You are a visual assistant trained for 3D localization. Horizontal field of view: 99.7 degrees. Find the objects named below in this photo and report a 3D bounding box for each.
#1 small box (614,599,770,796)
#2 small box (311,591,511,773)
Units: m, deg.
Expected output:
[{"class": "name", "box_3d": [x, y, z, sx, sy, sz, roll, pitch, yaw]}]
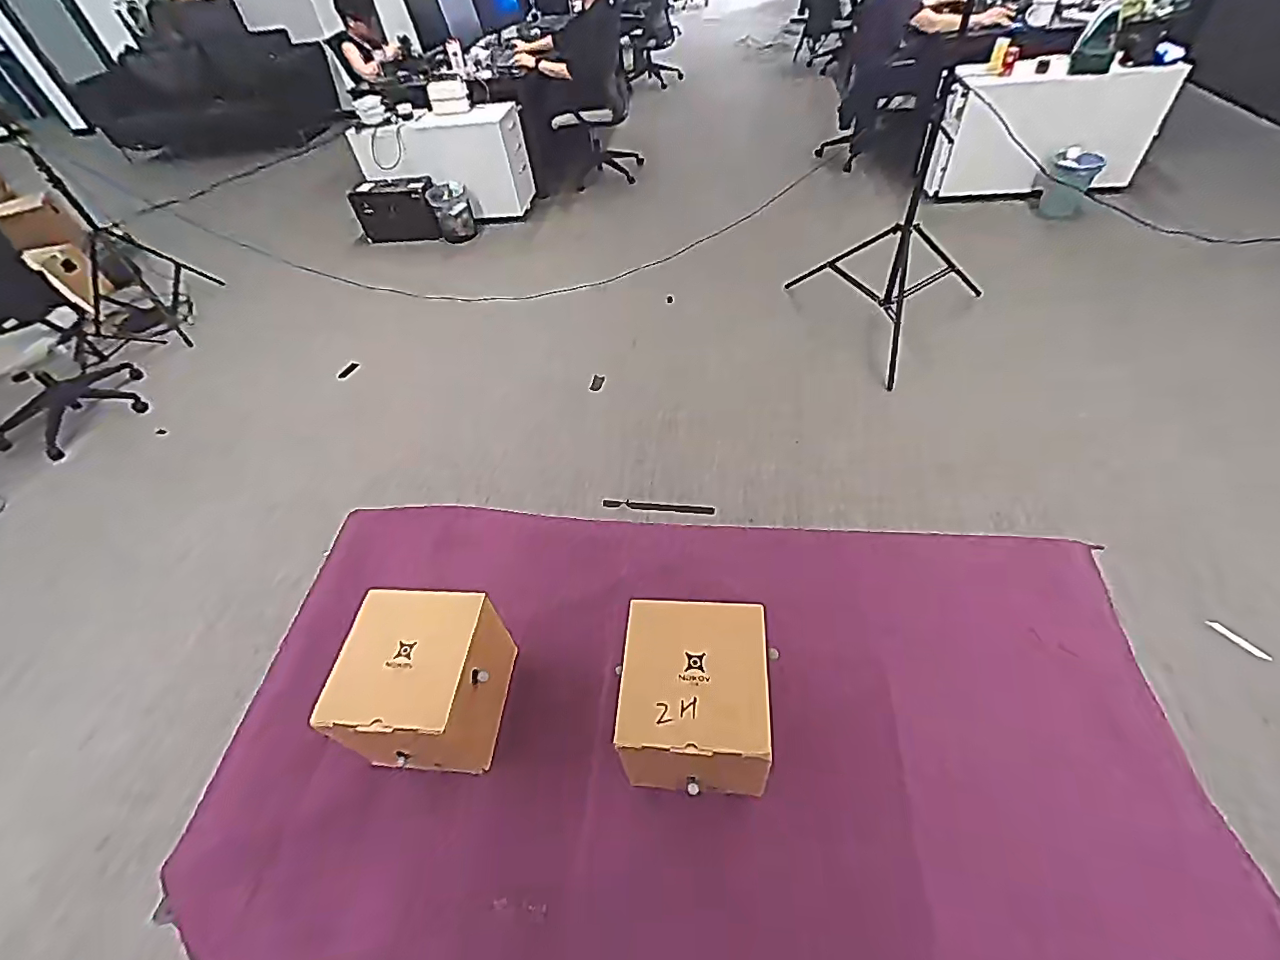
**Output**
[{"class": "small box", "box_3d": [0.068, 0.269, 0.671, 0.168, 0.176, 0.179, 0, 49, 8]}, {"class": "small box", "box_3d": [-0.282, 0.268, 0.719, 0.168, 0.176, 0.179, 0, 49, 7]}]
